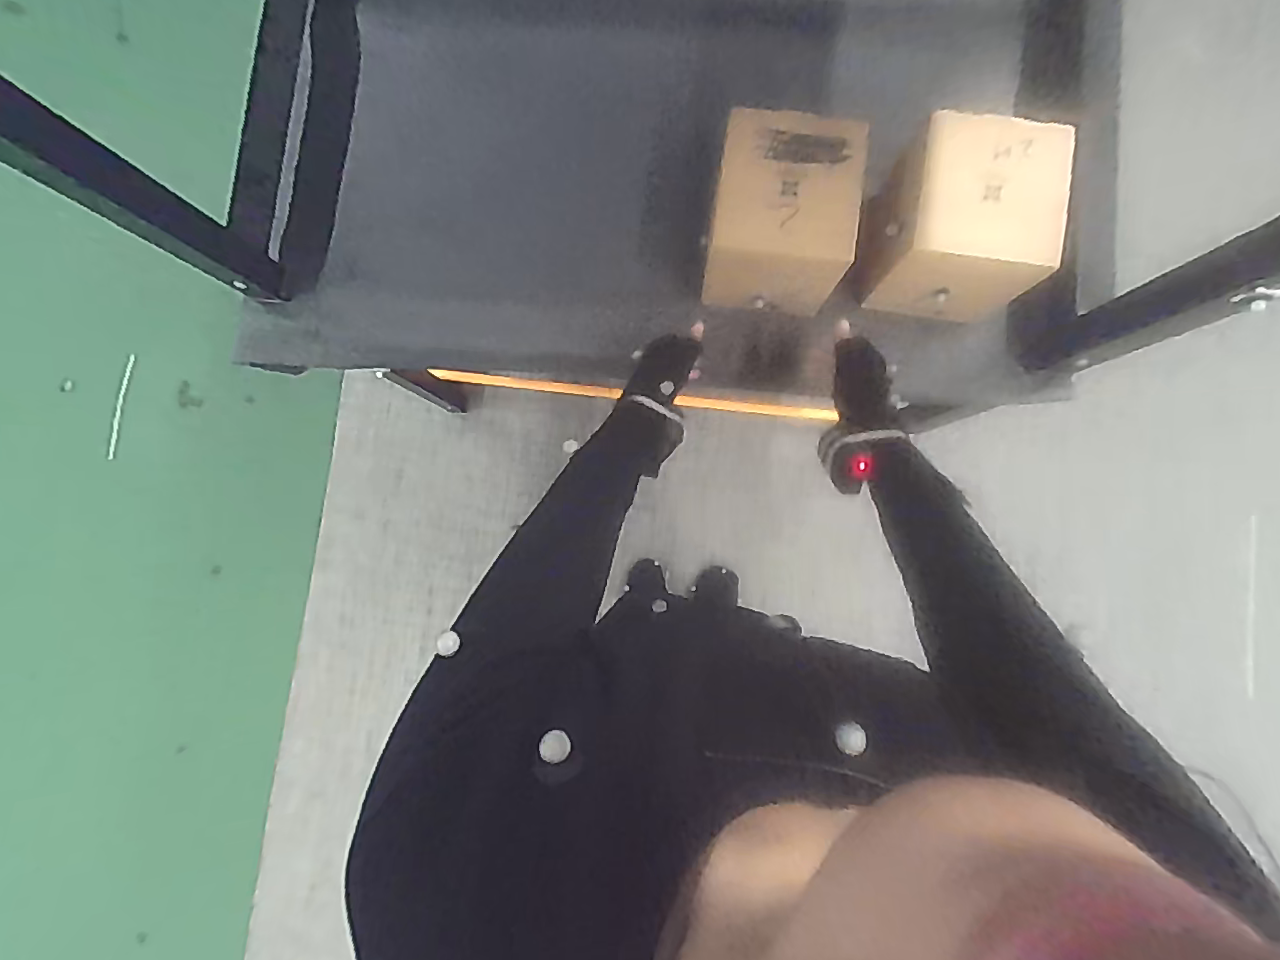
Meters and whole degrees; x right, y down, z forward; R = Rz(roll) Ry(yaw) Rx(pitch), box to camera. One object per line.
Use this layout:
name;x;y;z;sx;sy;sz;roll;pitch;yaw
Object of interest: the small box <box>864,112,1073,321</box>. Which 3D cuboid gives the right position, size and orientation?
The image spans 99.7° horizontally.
small box;0.408;-0.325;0.700;0.168;0.176;0.179;10;84;3
